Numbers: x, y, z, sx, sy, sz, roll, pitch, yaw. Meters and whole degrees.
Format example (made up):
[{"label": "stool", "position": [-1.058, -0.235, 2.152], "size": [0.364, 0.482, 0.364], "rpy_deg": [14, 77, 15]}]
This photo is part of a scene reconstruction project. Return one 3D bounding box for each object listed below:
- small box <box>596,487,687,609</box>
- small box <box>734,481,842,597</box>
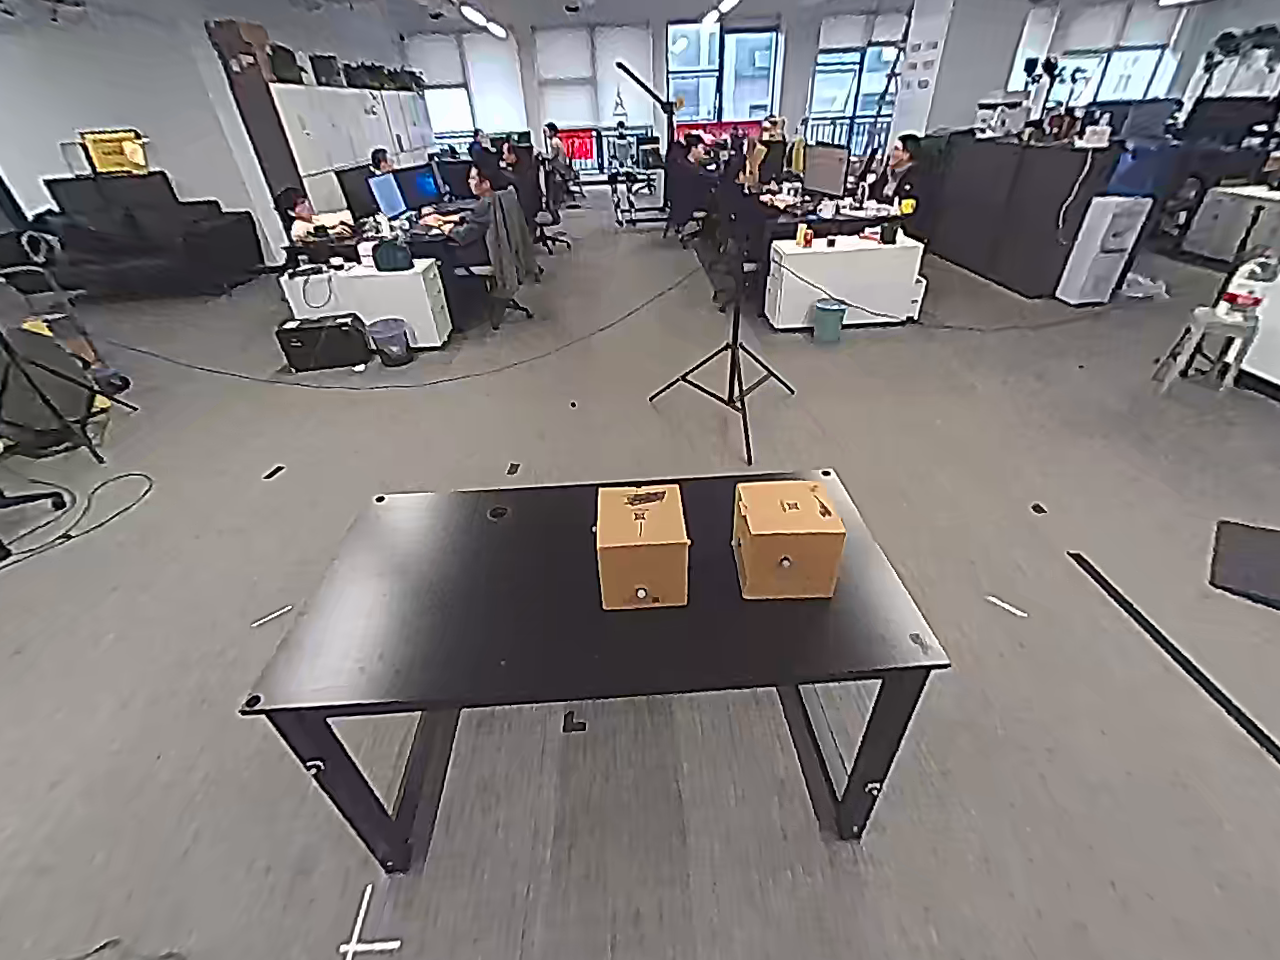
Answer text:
[{"label": "small box", "position": [0.002, 0.133, 1.078], "size": [0.168, 0.176, 0.179], "rpy_deg": [-4, 35, 0]}, {"label": "small box", "position": [0.283, 0.119, 1.078], "size": [0.179, 0.176, 0.168], "rpy_deg": [-3, 35, 2]}]
